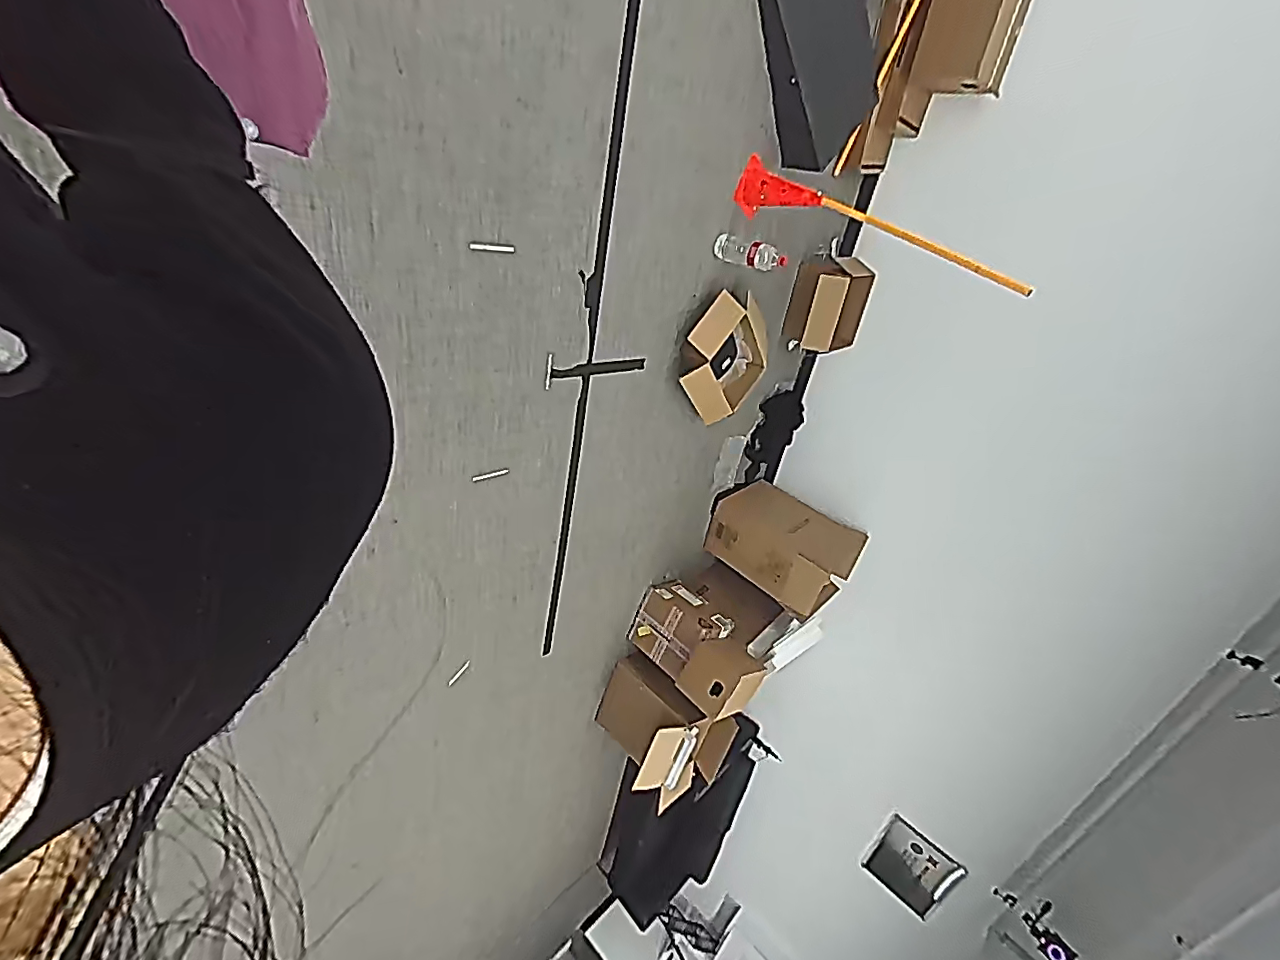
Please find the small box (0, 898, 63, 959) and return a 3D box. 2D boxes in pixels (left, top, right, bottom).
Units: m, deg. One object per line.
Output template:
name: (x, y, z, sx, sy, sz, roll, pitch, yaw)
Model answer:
small box: (-1.681, 1.269, 1.435, 0.168, 0.176, 0.179, -19, 131, -43)
